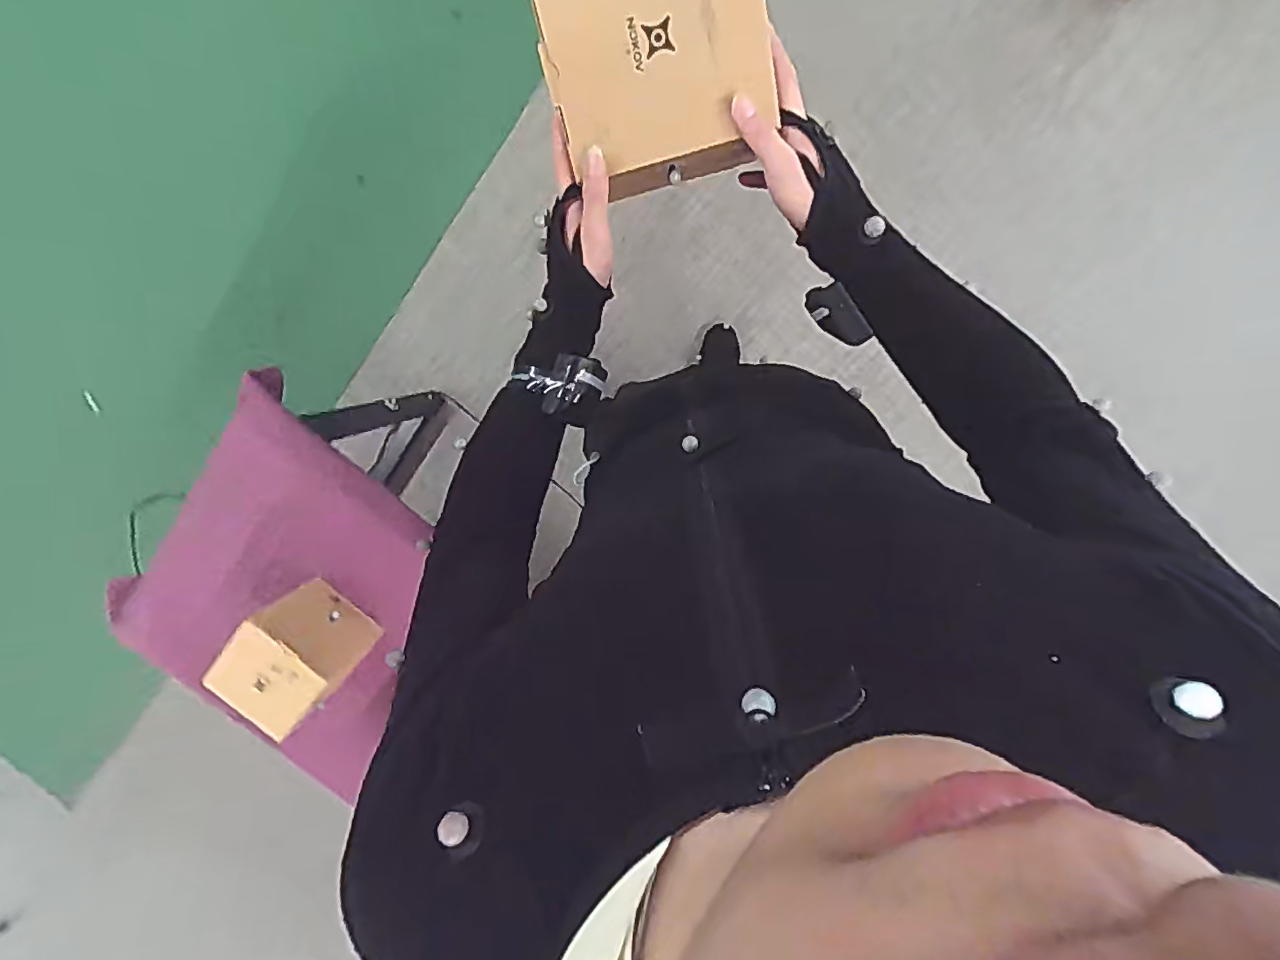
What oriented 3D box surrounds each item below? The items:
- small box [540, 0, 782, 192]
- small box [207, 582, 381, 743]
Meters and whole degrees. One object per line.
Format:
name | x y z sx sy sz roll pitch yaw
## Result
small box | 0.023 -0.377 0.492 0.179 0.176 0.168 -9 111 9
small box | -0.611 0.321 0.977 0.168 0.176 0.179 41 105 -5
